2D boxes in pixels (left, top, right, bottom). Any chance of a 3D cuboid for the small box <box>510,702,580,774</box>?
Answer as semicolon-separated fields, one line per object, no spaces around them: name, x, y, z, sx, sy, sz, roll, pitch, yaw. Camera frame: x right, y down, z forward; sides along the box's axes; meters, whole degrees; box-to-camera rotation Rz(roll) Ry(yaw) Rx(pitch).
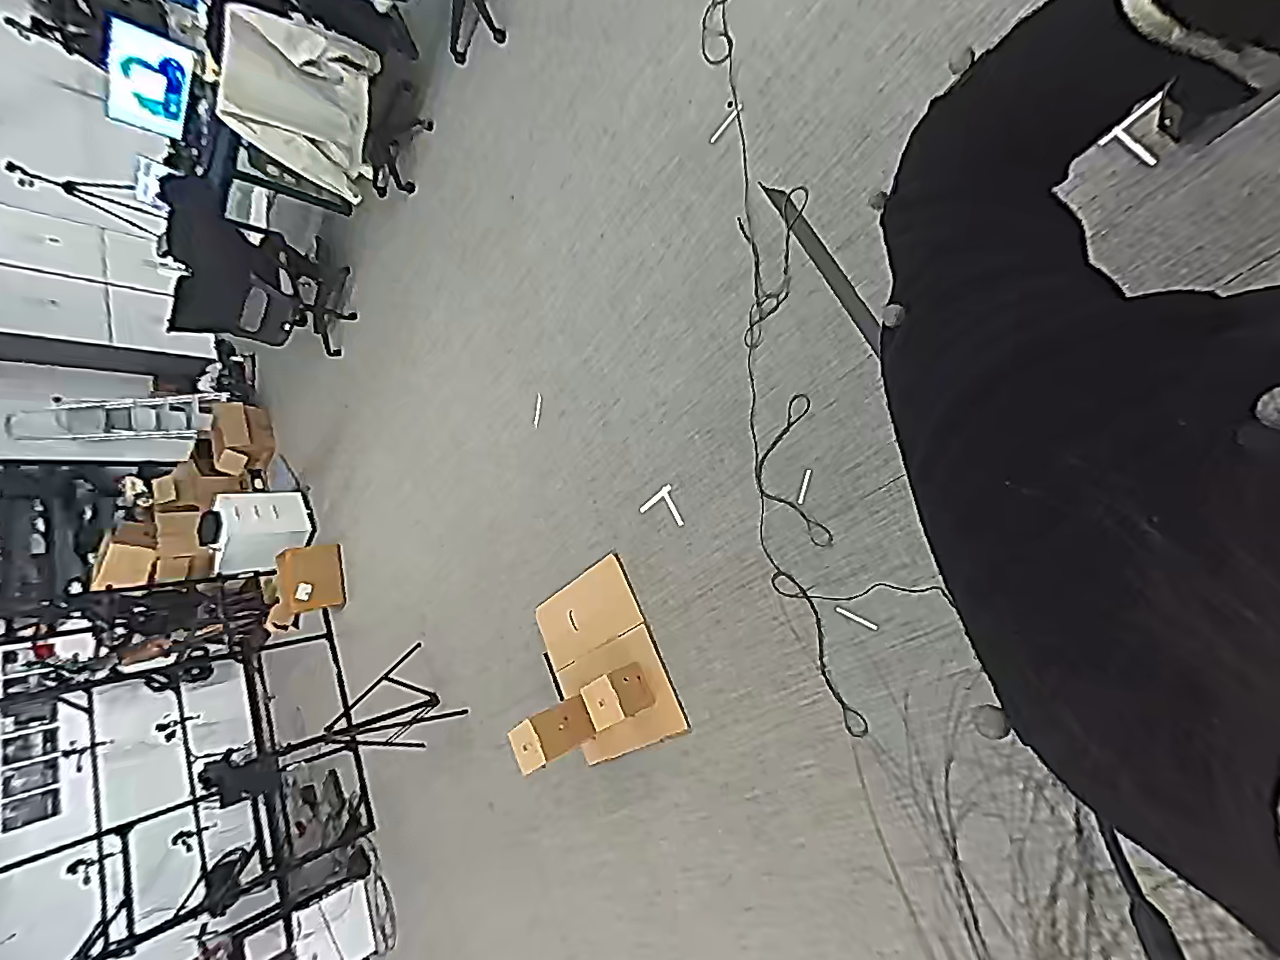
small box;-0.356;0.968;2.036;0.179;0.176;0.168;-45;64;33

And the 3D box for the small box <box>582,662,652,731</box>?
small box;-0.077;0.797;2.004;0.179;0.176;0.168;-43;64;35

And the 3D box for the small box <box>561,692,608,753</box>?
small box;-0.247;0.960;2.159;0.179;0.176;0.168;-47;62;32
